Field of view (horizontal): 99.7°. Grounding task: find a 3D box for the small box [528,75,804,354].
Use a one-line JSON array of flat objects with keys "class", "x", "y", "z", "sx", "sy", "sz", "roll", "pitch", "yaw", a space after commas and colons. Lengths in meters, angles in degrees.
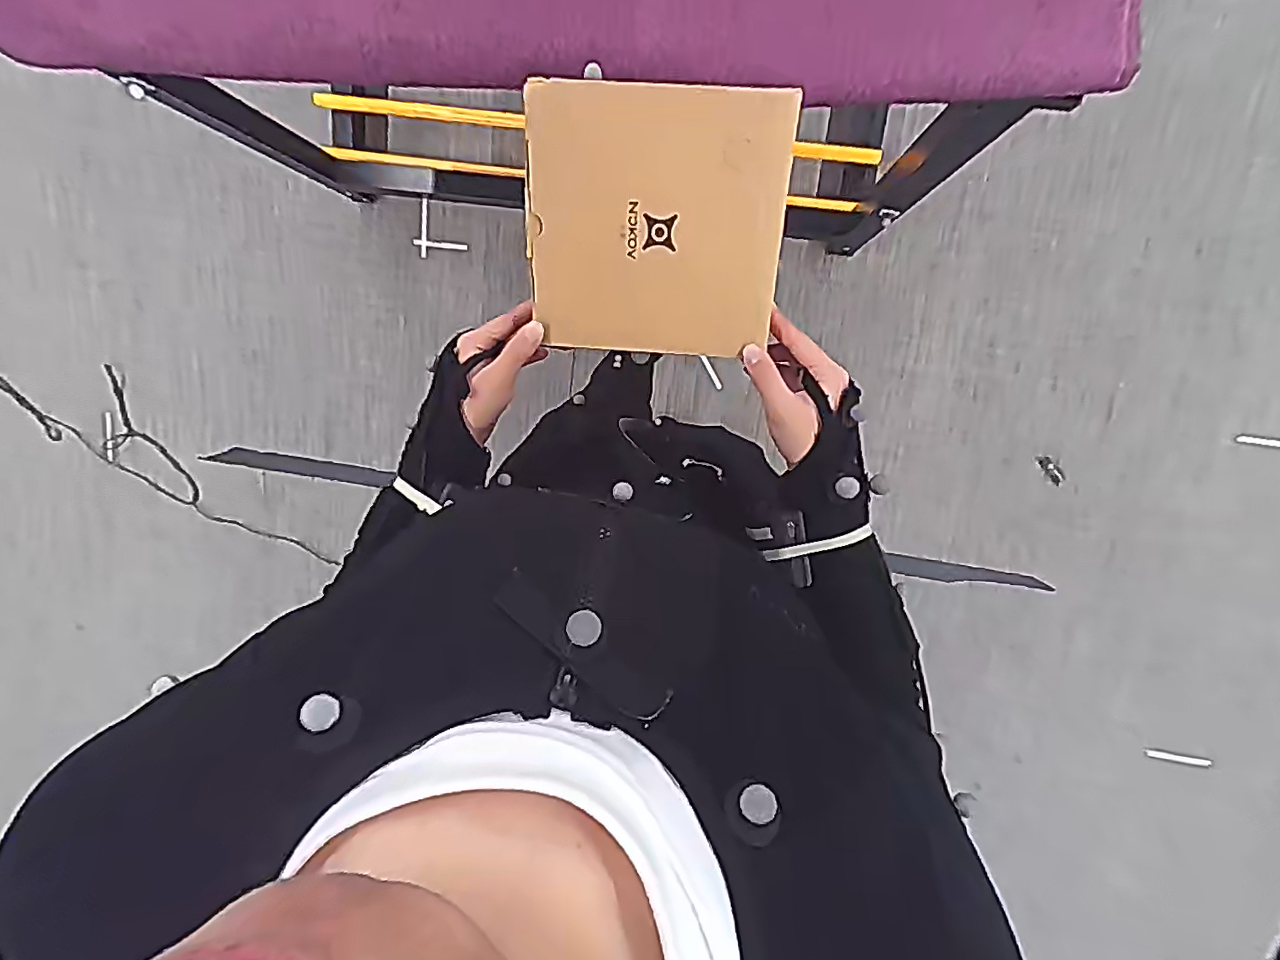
[{"class": "small box", "x": 0.019, "y": -0.208, "z": 0.441, "sx": 0.179, "sy": 0.176, "sz": 0.168, "roll": 5, "pitch": 115, "yaw": 5}]
